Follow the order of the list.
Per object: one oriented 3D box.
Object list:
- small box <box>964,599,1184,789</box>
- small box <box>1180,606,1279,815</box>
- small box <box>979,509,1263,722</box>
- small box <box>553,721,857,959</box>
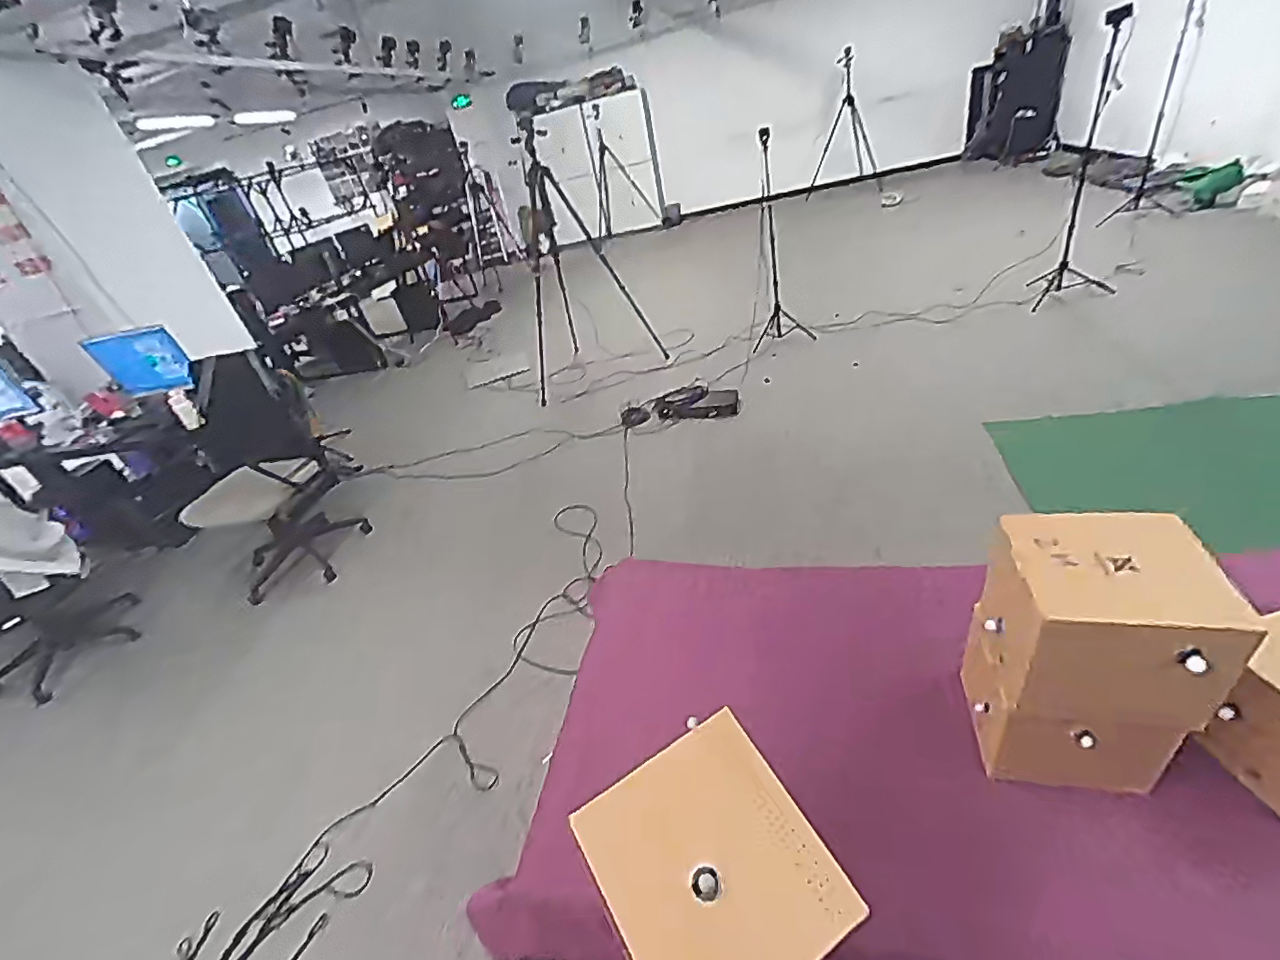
[{"bbox_3d":[0.543,0.278,0.713,0.179,0.176,0.168,-1,36,18],"label":"small box"},{"bbox_3d":[0.789,0.269,0.634,0.179,0.176,0.168,-15,33,-2],"label":"small box"},{"bbox_3d":[0.513,0.150,0.614,0.179,0.176,0.168,-1,35,19],"label":"small box"},{"bbox_3d":[0.047,0.337,0.469,0.176,0.168,0.179,-28,56,-18],"label":"small box"}]
